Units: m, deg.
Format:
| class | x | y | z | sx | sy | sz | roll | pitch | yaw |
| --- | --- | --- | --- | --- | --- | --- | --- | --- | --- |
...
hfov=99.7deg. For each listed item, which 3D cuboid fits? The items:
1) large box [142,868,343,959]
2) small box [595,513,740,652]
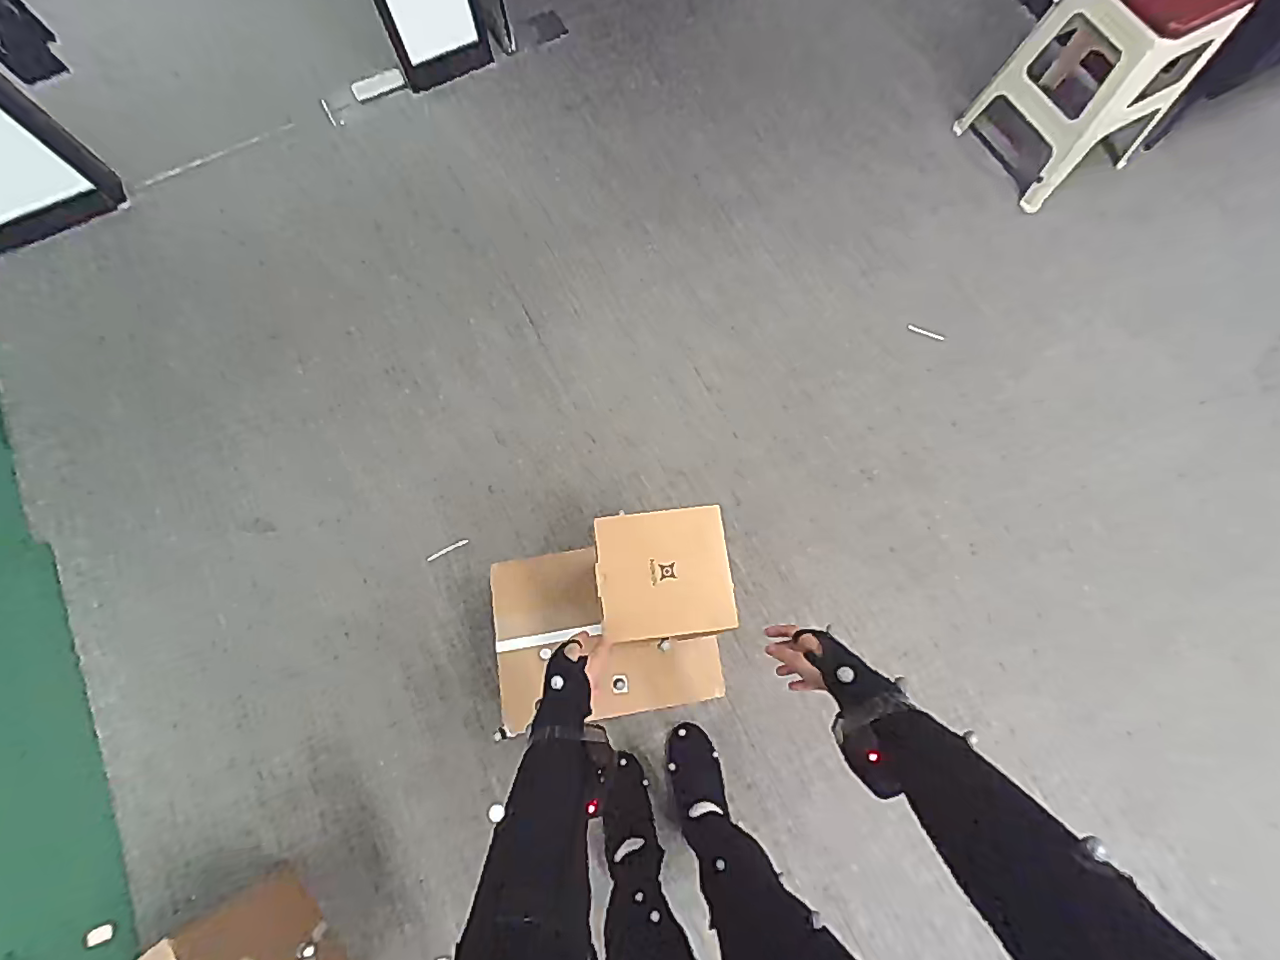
| class | x | y | z | sx | sy | sz | roll | pitch | yaw |
| --- | --- | --- | --- | --- | --- | --- | --- | --- | --- |
| large box | -0.810 | 1.018 | 0.952 | 0.408 | 0.320 | 0.320 | -40 | 76 | -9 |
| small box | 0.033 | 0.153 | 0.779 | 0.179 | 0.176 | 0.168 | -6 | 72 | -1 |
